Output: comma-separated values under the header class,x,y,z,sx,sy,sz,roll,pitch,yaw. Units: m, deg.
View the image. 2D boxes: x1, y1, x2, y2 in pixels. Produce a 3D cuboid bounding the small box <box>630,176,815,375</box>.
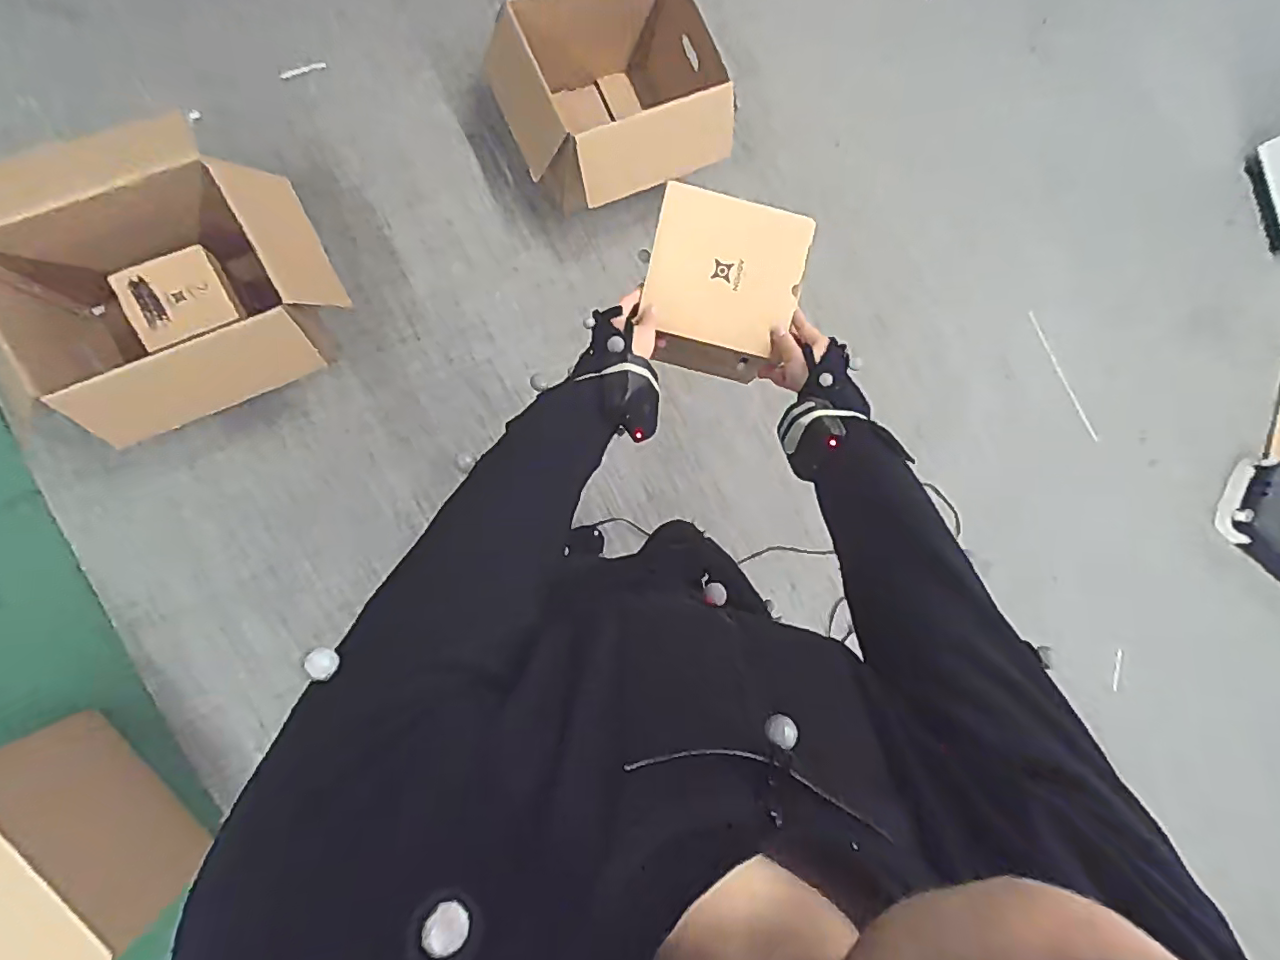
class,x,y,z,sx,sy,sz,roll,pitch,yaw
small box,0.088,-0.238,0.676,0.179,0.176,0.168,13,91,-4
